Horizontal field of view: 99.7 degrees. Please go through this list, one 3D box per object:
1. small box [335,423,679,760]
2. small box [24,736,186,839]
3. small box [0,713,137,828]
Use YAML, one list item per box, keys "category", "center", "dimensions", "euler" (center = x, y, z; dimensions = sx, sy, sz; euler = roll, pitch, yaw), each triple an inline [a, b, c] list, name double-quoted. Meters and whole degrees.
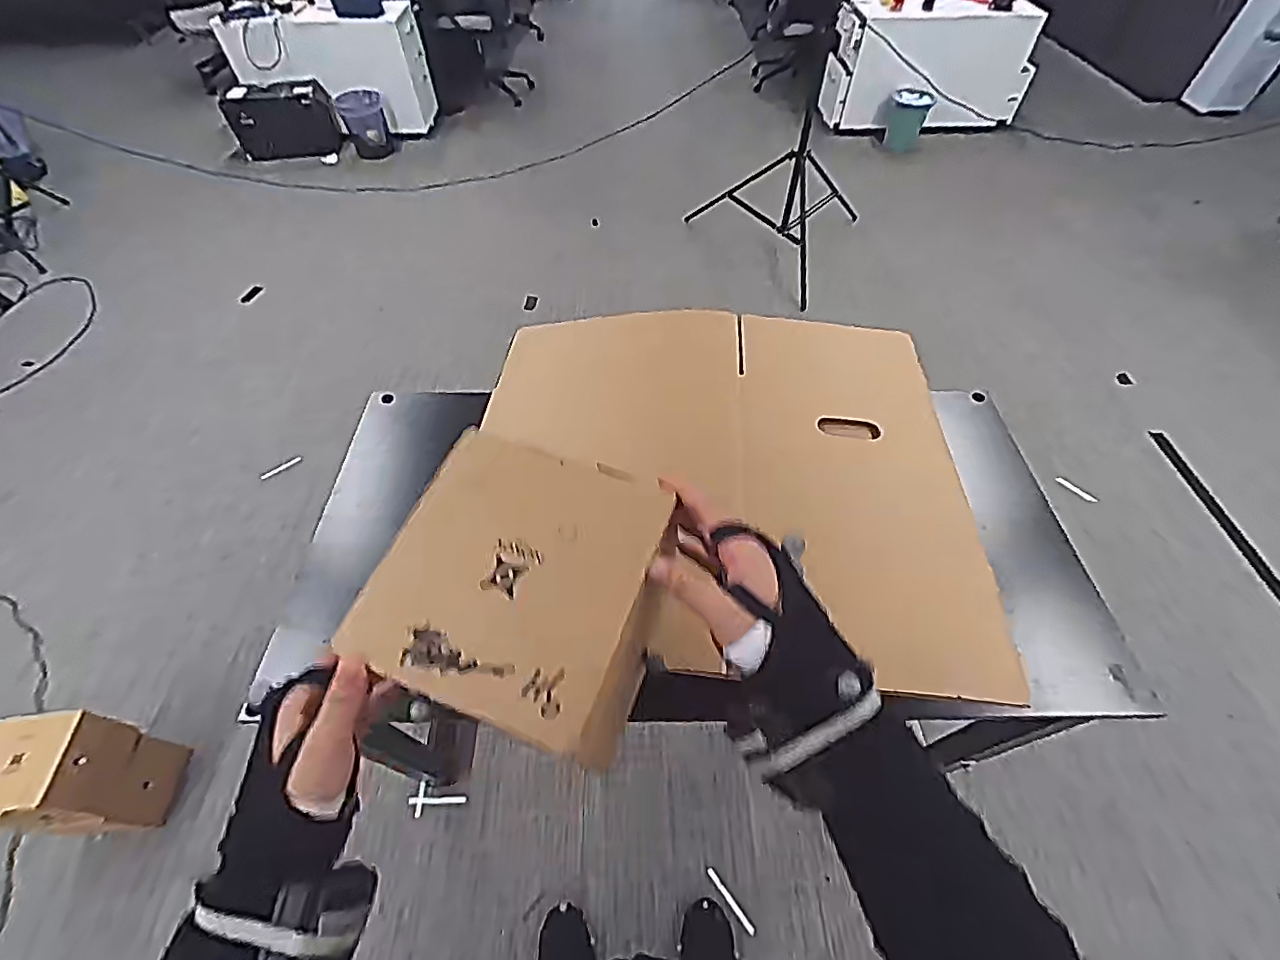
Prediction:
- category: "small box"
  center: [-0.076, 0.090, 0.414]
  dimensions: [0.168, 0.176, 0.179]
  euler: [16, 61, 13]
- category: "small box"
  center: [-1.188, 0.696, 1.223]
  dimensions: [0.168, 0.176, 0.179]
  euler: [-4, 54, -3]
- category: "small box"
  center: [-1.190, 0.594, 1.096]
  dimensions: [0.168, 0.176, 0.179]
  euler: [-5, 52, -5]
